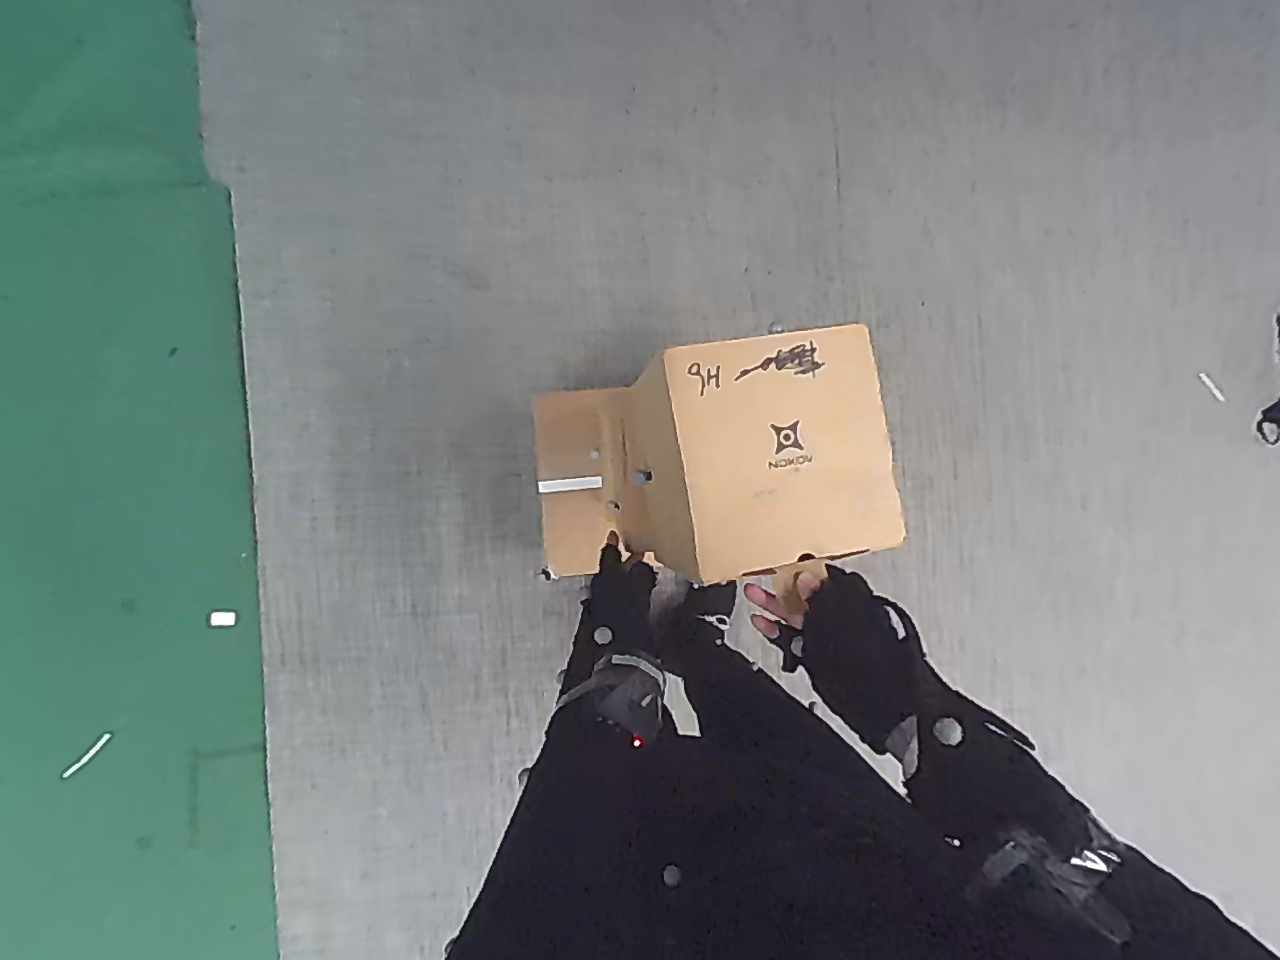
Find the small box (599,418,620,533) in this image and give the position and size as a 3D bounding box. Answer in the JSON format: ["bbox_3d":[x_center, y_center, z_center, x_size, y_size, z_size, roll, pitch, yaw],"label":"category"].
[{"bbox_3d":[0.034,-0.023,0.835,0.179,0.176,0.168,-6,96,-6],"label":"small box"}]

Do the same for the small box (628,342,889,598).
[{"bbox_3d":[0.090,-0.009,0.489,0.168,0.176,0.179,-10,90,-9],"label":"small box"}]

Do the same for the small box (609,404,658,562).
[{"bbox_3d":[0.052,-0.008,0.675,0.168,0.176,0.179,-5,95,-7],"label":"small box"}]
